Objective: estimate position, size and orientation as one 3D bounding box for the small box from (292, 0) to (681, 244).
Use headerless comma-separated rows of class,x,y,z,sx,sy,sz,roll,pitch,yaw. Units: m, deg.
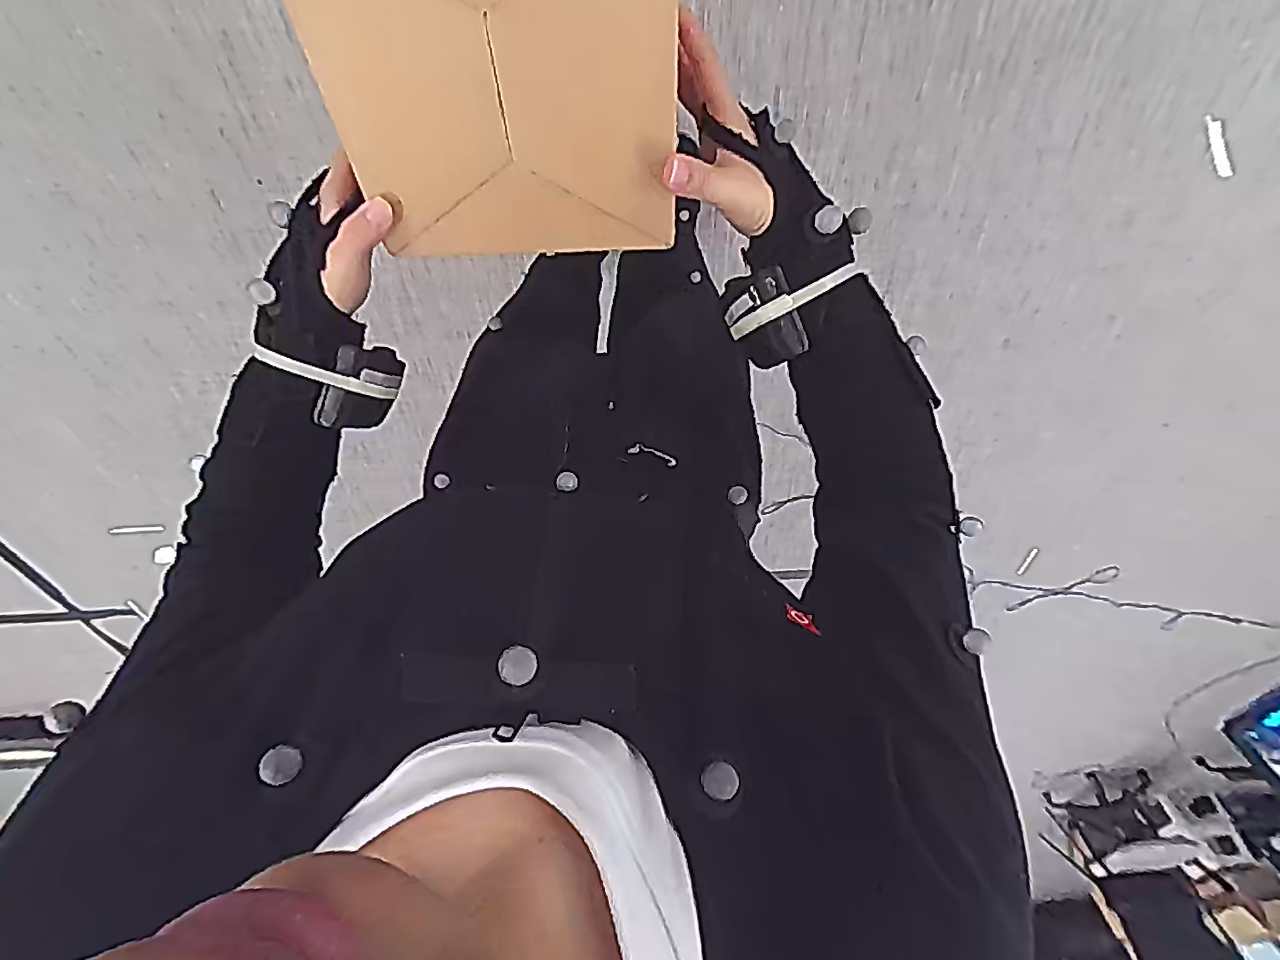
small box,-0.066,-0.256,0.313,0.179,0.176,0.168,-2,141,1
